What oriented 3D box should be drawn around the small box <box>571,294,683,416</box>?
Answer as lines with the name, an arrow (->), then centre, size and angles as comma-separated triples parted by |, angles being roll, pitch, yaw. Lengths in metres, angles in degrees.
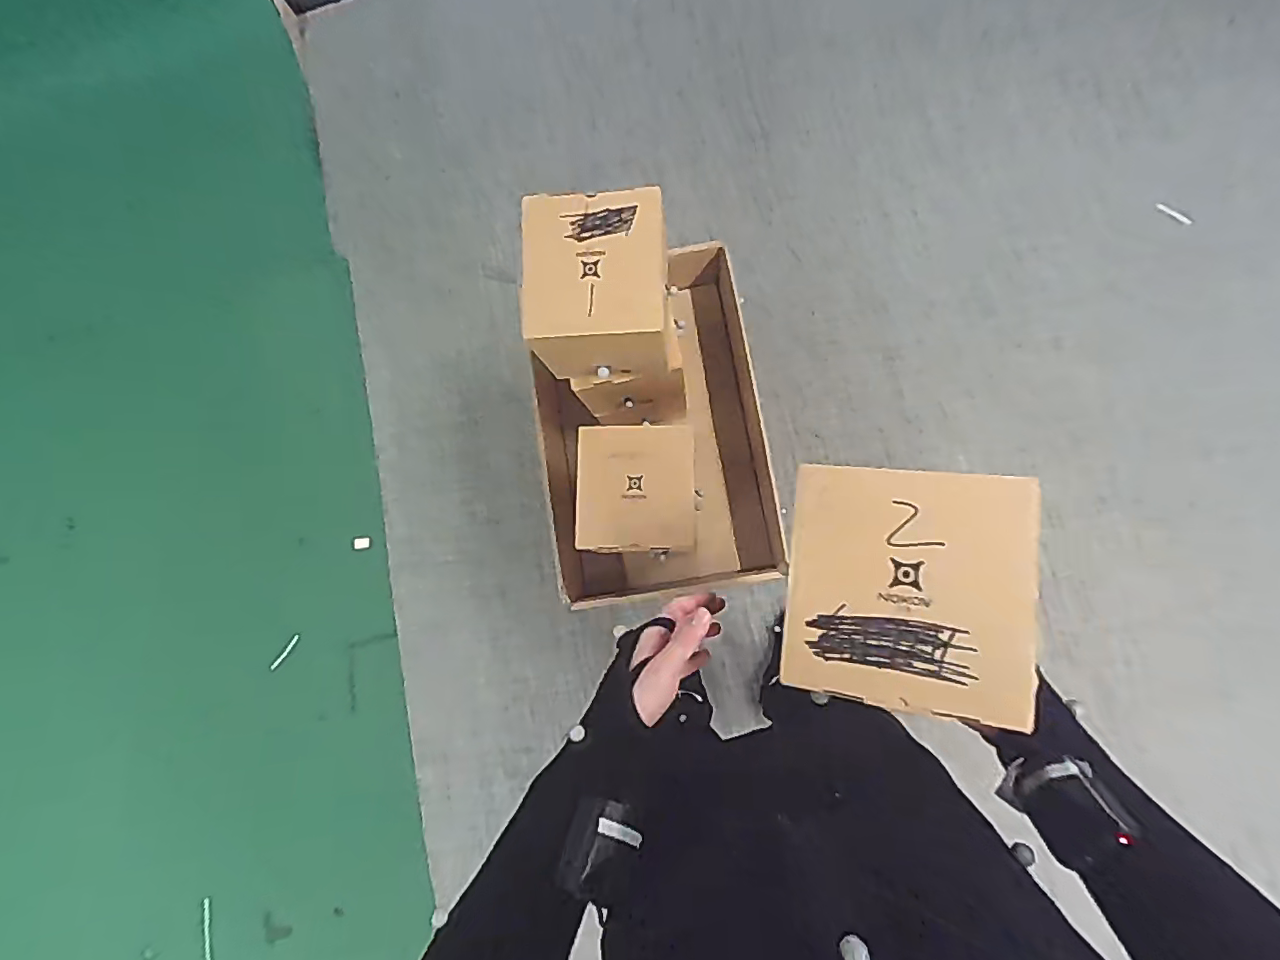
small box -> -0.027, -0.218, 0.870 | 0.168, 0.176, 0.179 | -11, 83, 4

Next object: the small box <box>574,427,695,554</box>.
small box -> 0.000, 0.023, 0.829 | 0.168, 0.176, 0.179 | 1, 81, 6

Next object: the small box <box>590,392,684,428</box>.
small box -> -0.011, -0.202, 1.030 | 0.168, 0.176, 0.179 | -11, 83, 5

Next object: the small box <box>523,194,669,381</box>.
small box -> -0.049, -0.239, 0.708 | 0.168, 0.176, 0.179 | -1, 85, 6
